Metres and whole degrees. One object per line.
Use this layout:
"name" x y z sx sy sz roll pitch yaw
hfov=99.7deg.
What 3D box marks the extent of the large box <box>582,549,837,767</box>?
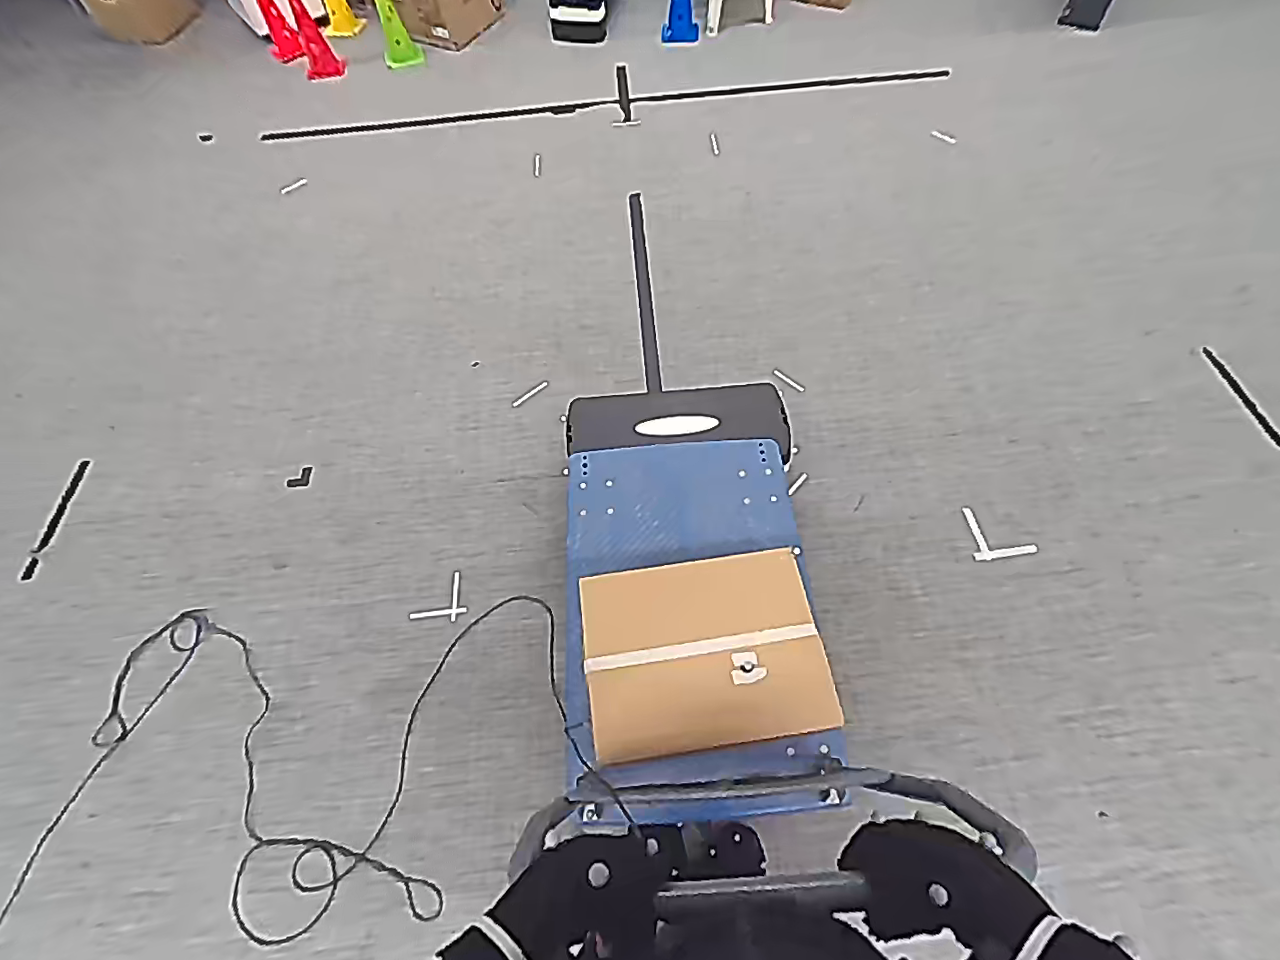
"large box" 0.111 0.366 1.082 0.408 0.320 0.320 -8 62 -3
